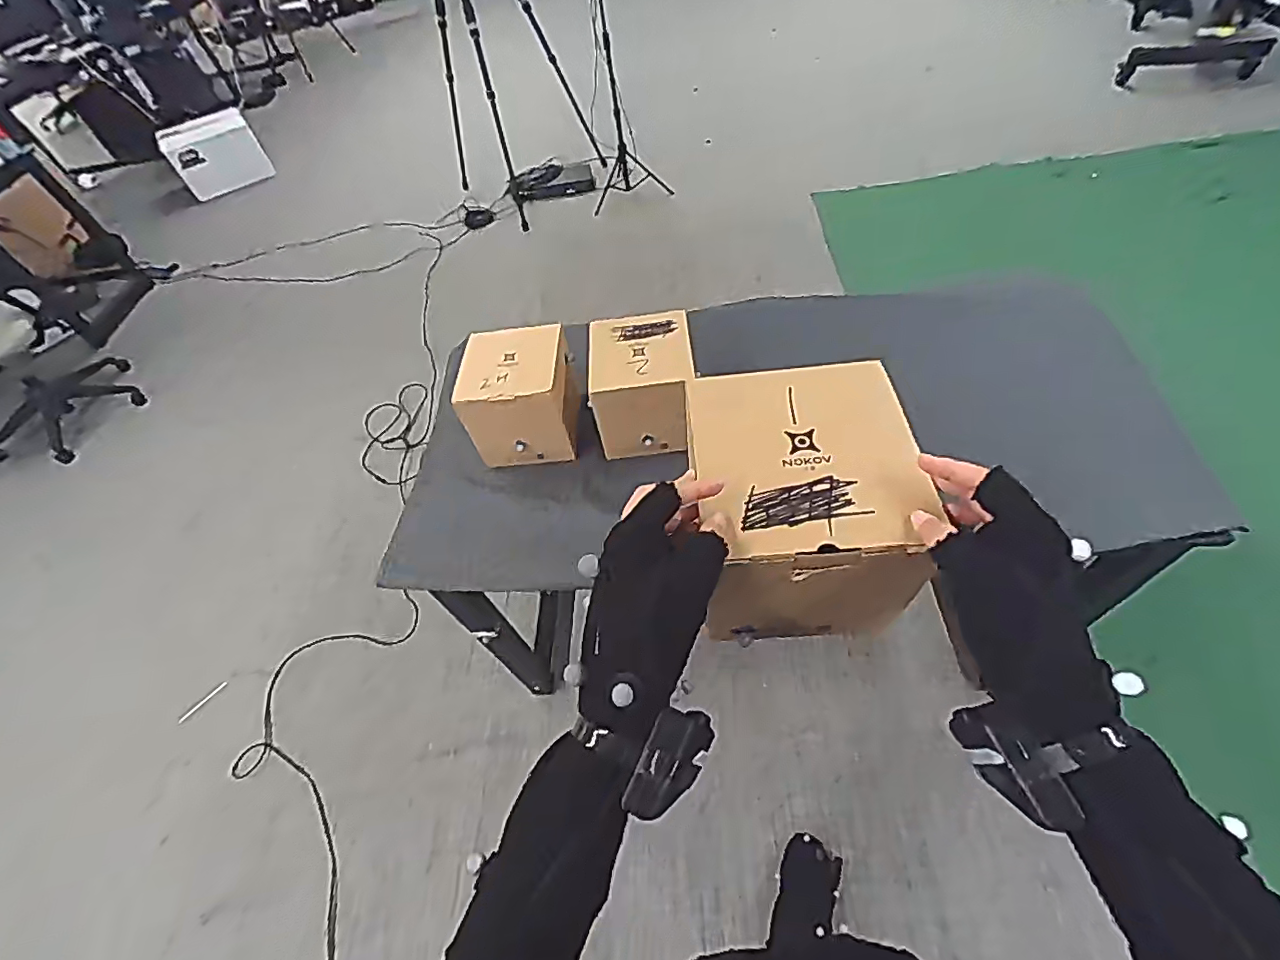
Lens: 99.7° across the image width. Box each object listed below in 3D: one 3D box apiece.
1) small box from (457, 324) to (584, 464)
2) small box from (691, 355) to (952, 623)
[{"bbox_3d":[-0.198,-0.150,0.959,0.168,0.176,0.179,-4,52,6],"label":"small box"},{"bbox_3d":[0.135,0.018,0.474,0.168,0.176,0.179,-4,54,5],"label":"small box"}]
